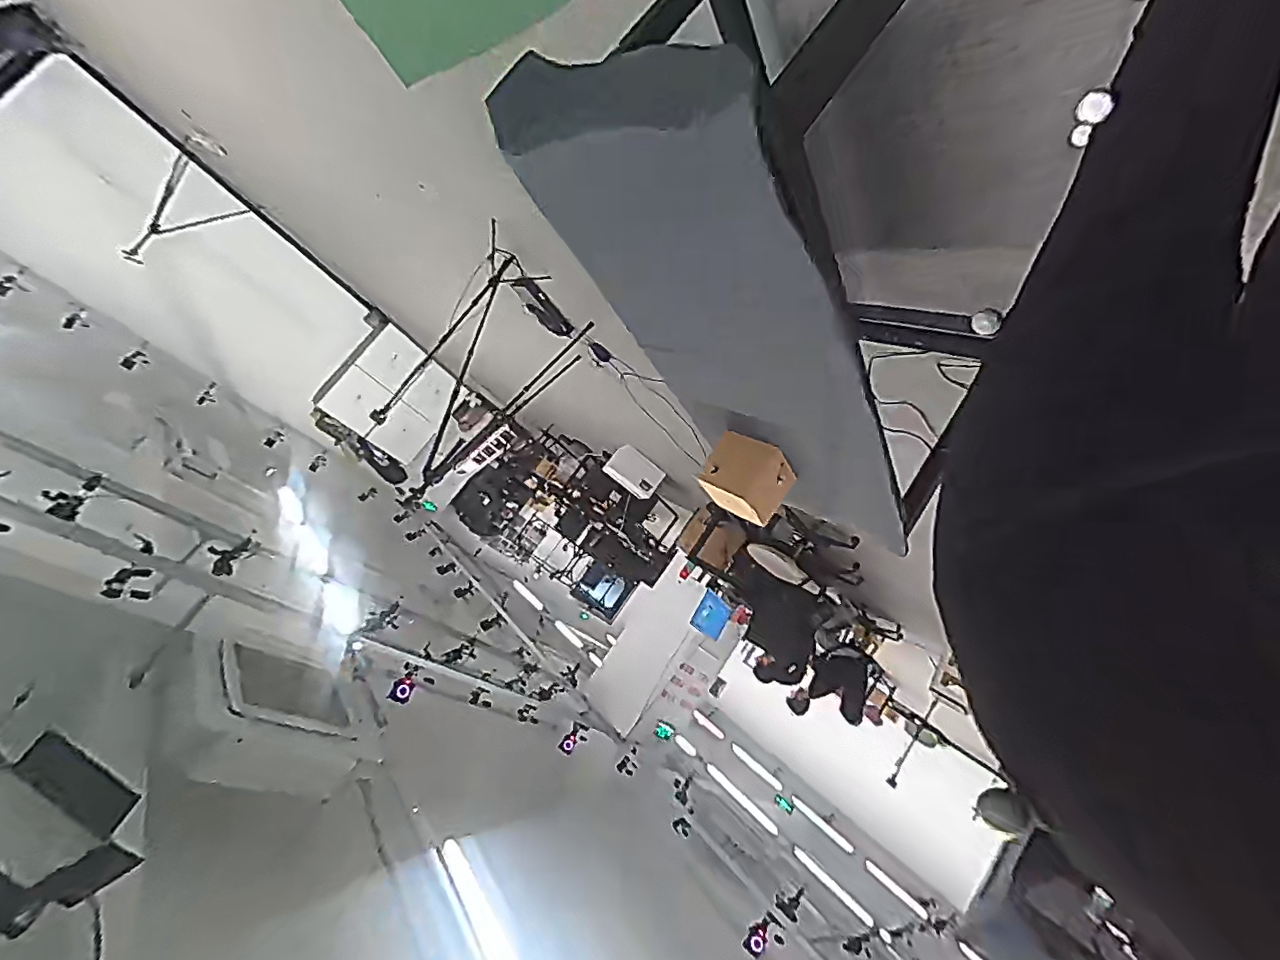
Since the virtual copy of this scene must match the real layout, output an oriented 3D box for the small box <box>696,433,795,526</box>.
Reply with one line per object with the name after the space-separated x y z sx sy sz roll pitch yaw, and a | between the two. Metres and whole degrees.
0.291 -0.008 1.478 0.179 0.176 0.168 26 166 43 | small box
